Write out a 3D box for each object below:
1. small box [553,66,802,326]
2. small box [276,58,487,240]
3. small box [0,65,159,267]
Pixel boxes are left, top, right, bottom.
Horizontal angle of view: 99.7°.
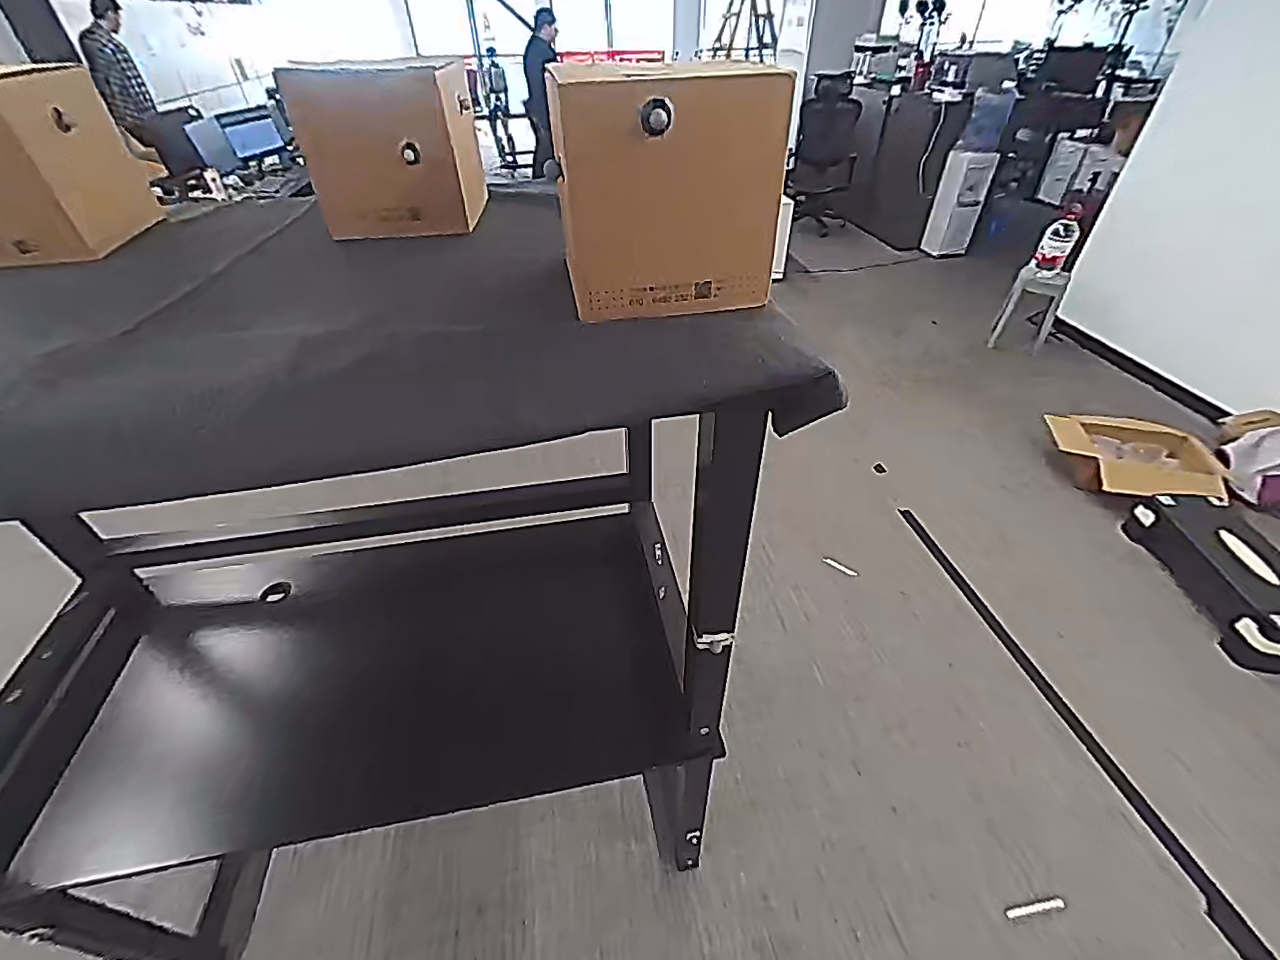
[{"bbox_3d":[0.018,-0.250,0.470,0.168,0.176,0.179,-8,40,-7],"label":"small box"},{"bbox_3d":[-0.291,-0.402,0.660,0.168,0.176,0.179,-3,40,-4],"label":"small box"},{"bbox_3d":[-0.695,-0.344,0.598,0.168,0.176,0.179,-7,41,-8],"label":"small box"}]
